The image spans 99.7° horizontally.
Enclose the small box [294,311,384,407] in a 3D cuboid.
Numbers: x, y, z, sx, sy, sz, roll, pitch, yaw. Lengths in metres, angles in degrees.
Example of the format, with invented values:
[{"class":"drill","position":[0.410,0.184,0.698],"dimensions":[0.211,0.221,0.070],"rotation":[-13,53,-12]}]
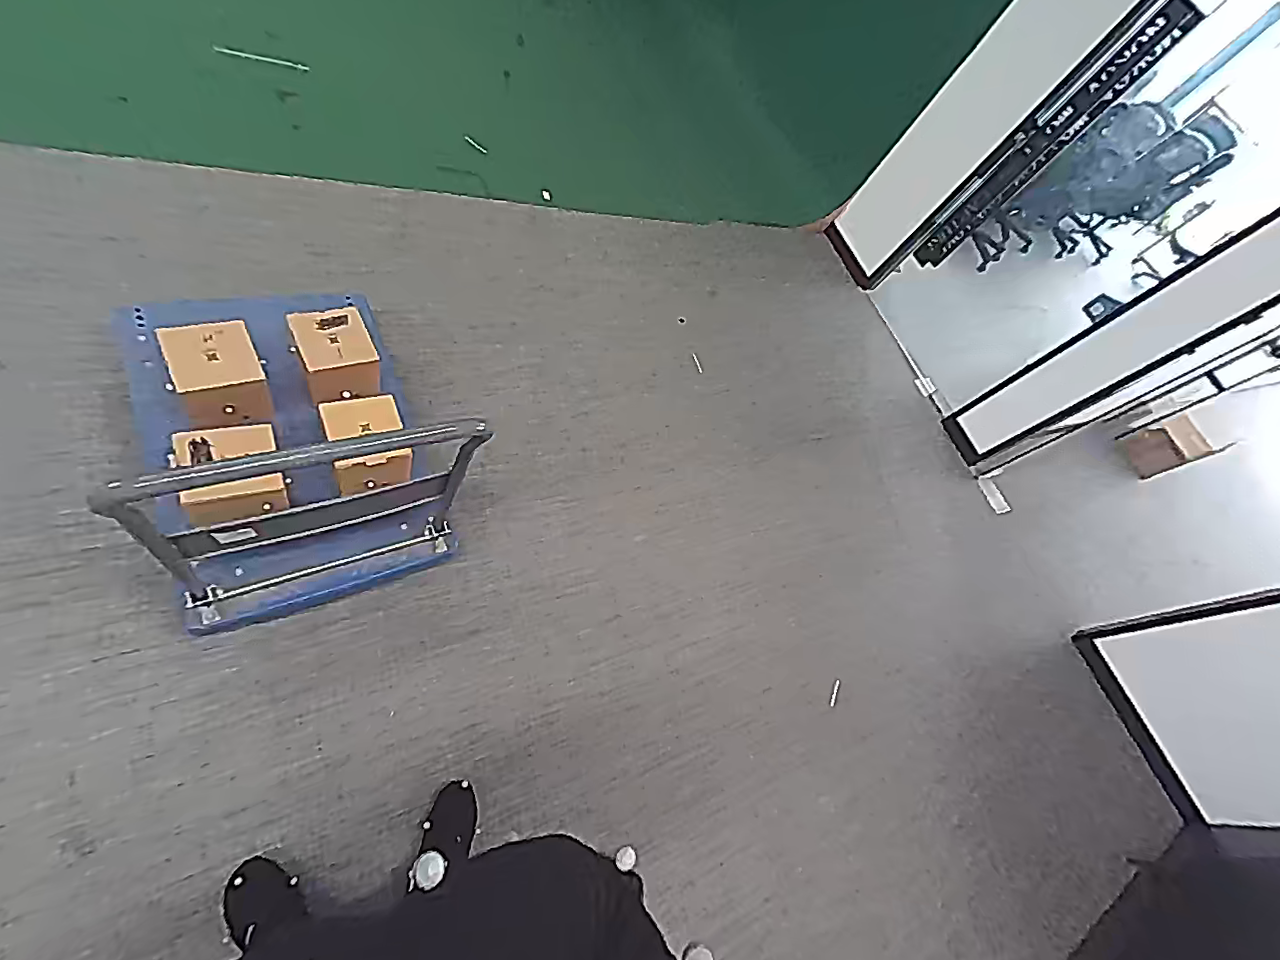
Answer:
[{"class":"small box","position":[-0.799,-0.320,1.440],"dimensions":[0.168,0.176,0.179],"rotation":[-21,76,-32]}]

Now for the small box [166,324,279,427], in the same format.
[{"class":"small box","position":[-0.995,-0.244,1.303],"dimensions":[0.168,0.176,0.179],"rotation":[-20,74,-34]}]

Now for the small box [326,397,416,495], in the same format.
[{"class":"small box","position":[-0.684,-0.085,1.373],"dimensions":[0.168,0.176,0.179],"rotation":[-15,72,-32]}]
